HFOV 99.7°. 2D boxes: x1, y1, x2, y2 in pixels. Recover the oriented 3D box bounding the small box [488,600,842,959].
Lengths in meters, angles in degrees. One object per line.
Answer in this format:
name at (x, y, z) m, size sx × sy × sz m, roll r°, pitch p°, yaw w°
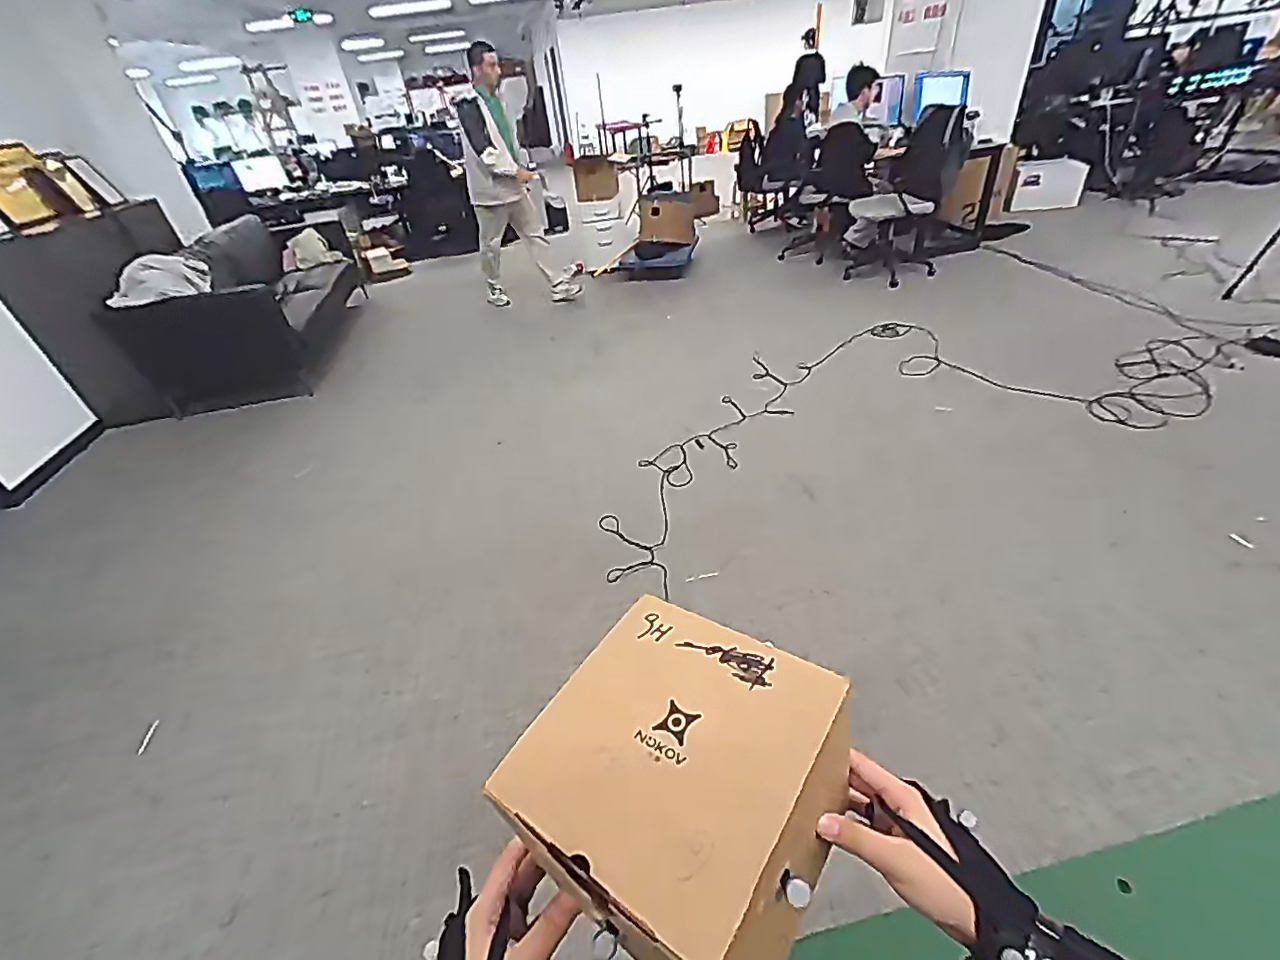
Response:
small box at (0.034, 0.225, 0.382) m, size 0.168 × 0.176 × 0.179 m, roll 15°, pitch 45°, yaw 36°
